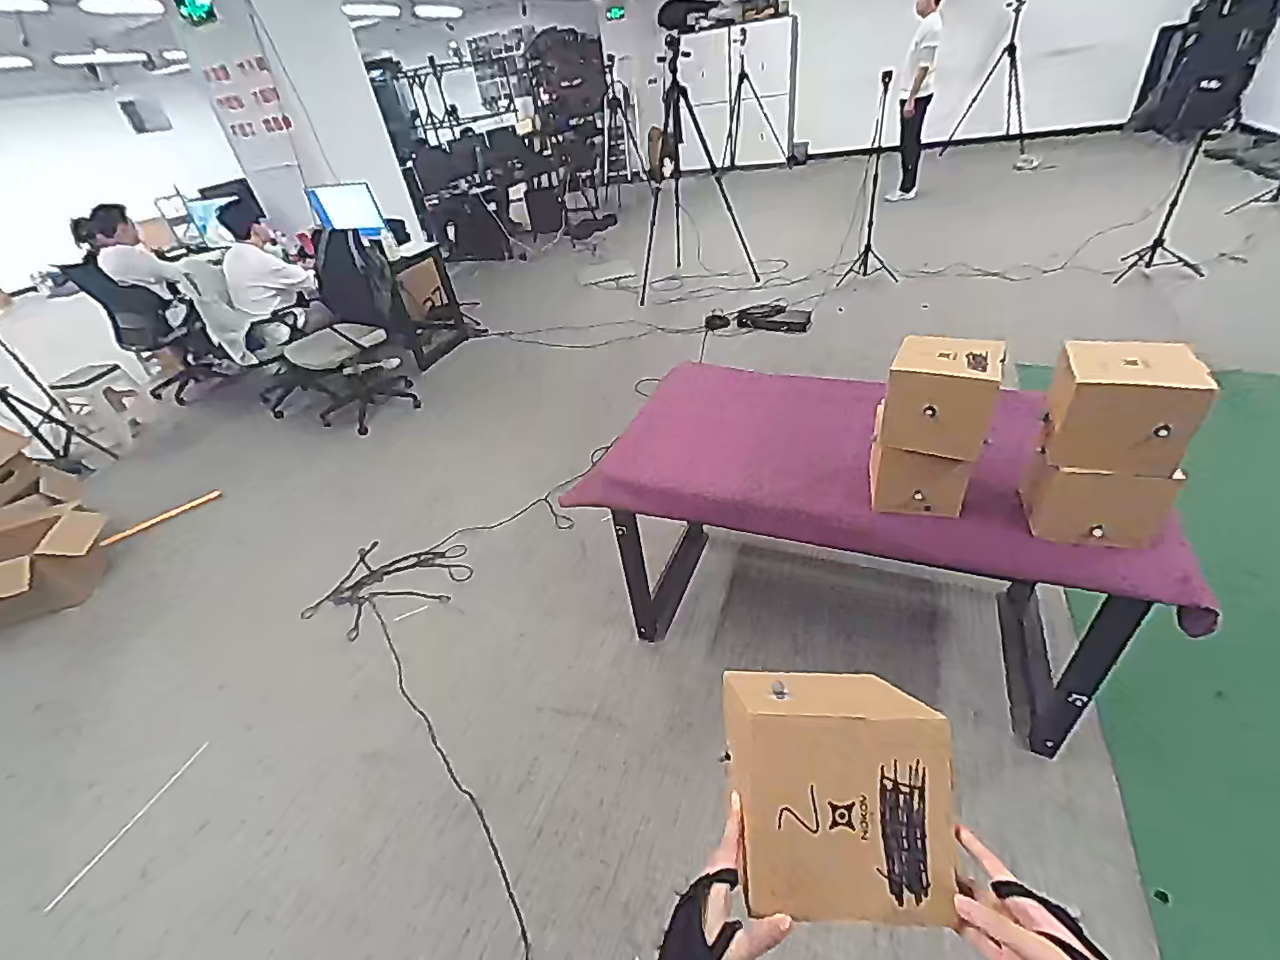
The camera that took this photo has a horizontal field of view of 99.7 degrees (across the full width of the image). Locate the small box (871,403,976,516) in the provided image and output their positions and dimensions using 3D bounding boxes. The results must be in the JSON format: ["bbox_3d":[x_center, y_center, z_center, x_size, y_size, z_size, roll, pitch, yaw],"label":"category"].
[{"bbox_3d":[0.591,-0.048,1.150,0.168,0.176,0.179,4,38,18],"label":"small box"}]

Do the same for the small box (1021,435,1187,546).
[{"bbox_3d":[0.853,0.005,1.016,0.179,0.176,0.168,5,39,20],"label":"small box"}]

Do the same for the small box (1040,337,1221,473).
[{"bbox_3d":[0.821,-0.130,0.929,0.179,0.176,0.168,9,41,25],"label":"small box"}]

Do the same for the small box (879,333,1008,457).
[{"bbox_3d":[0.574,-0.162,1.030,0.179,0.176,0.168,14,42,30],"label":"small box"}]
